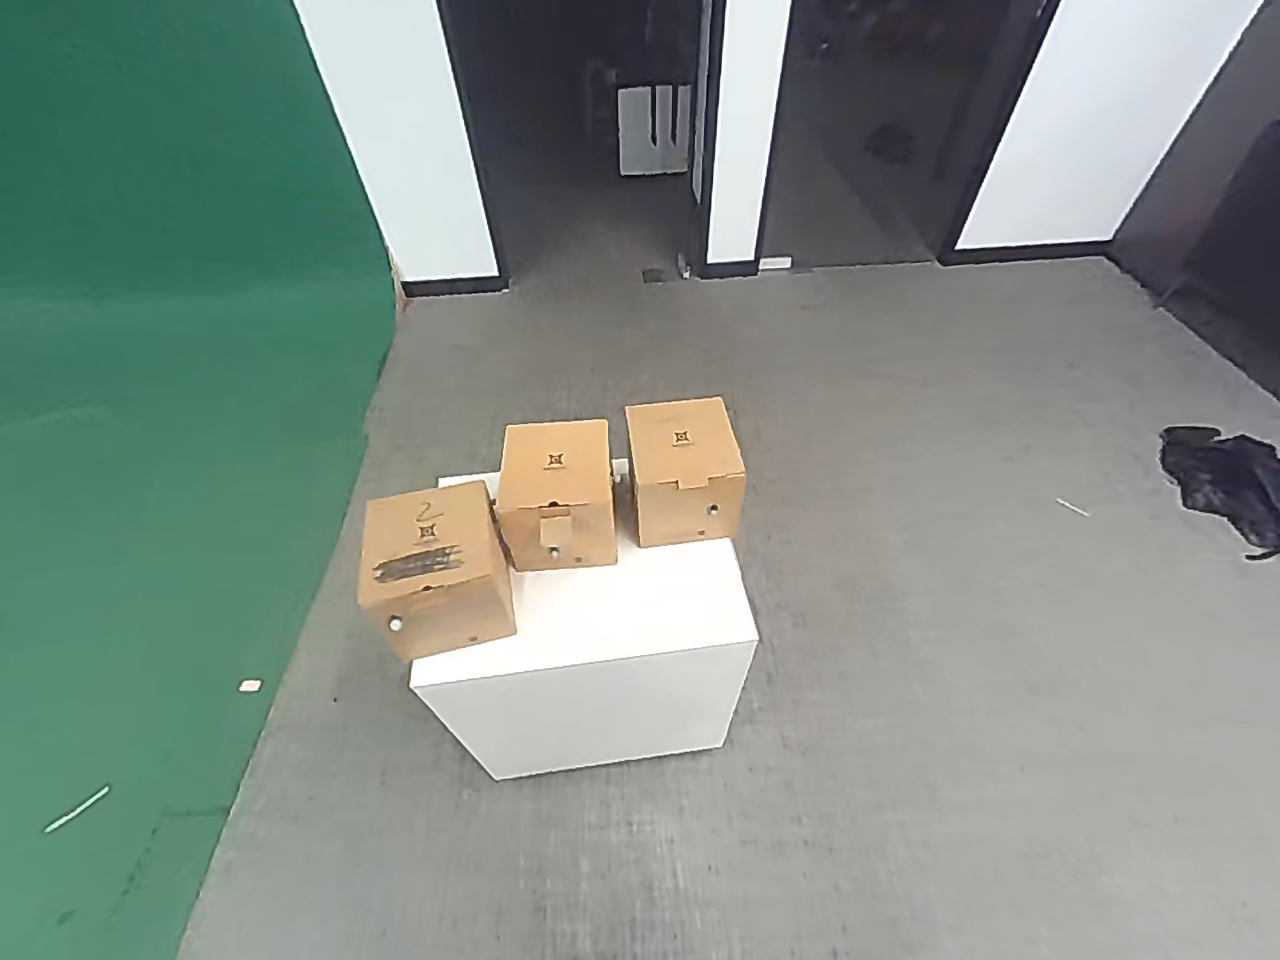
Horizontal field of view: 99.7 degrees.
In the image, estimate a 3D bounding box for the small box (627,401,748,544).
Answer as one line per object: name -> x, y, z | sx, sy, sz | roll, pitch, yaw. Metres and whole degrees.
small box -> 0.072, -0.006, 0.901 | 0.168, 0.176, 0.179 | -6, 49, -4
